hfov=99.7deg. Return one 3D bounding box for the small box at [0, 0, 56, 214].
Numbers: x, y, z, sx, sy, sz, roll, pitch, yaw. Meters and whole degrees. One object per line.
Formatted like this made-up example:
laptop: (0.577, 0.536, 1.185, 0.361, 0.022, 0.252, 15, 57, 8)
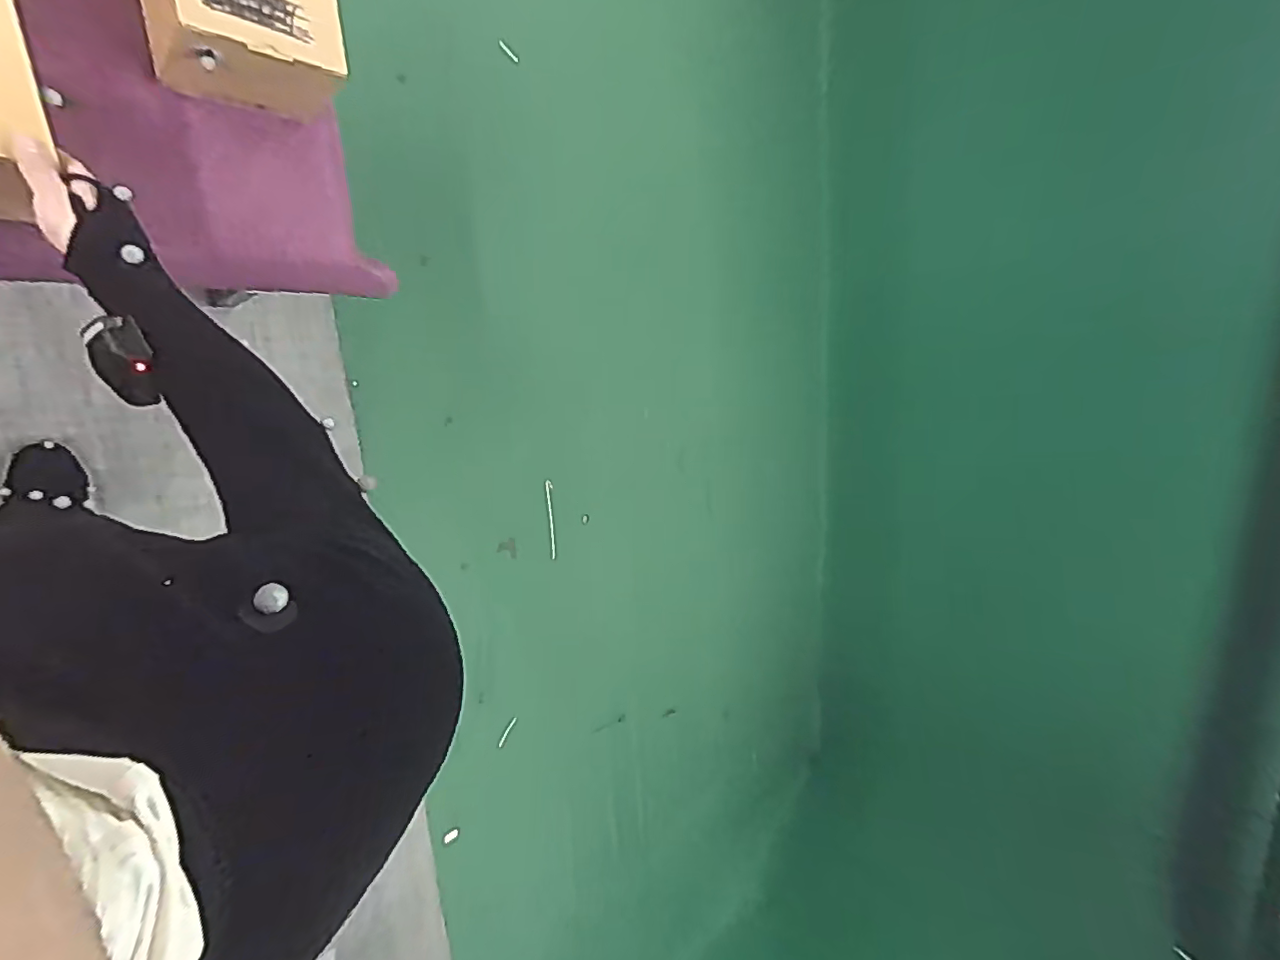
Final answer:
small box: (-0.655, -0.359, 0.472, 0.168, 0.176, 0.179, -17, 105, -46)
